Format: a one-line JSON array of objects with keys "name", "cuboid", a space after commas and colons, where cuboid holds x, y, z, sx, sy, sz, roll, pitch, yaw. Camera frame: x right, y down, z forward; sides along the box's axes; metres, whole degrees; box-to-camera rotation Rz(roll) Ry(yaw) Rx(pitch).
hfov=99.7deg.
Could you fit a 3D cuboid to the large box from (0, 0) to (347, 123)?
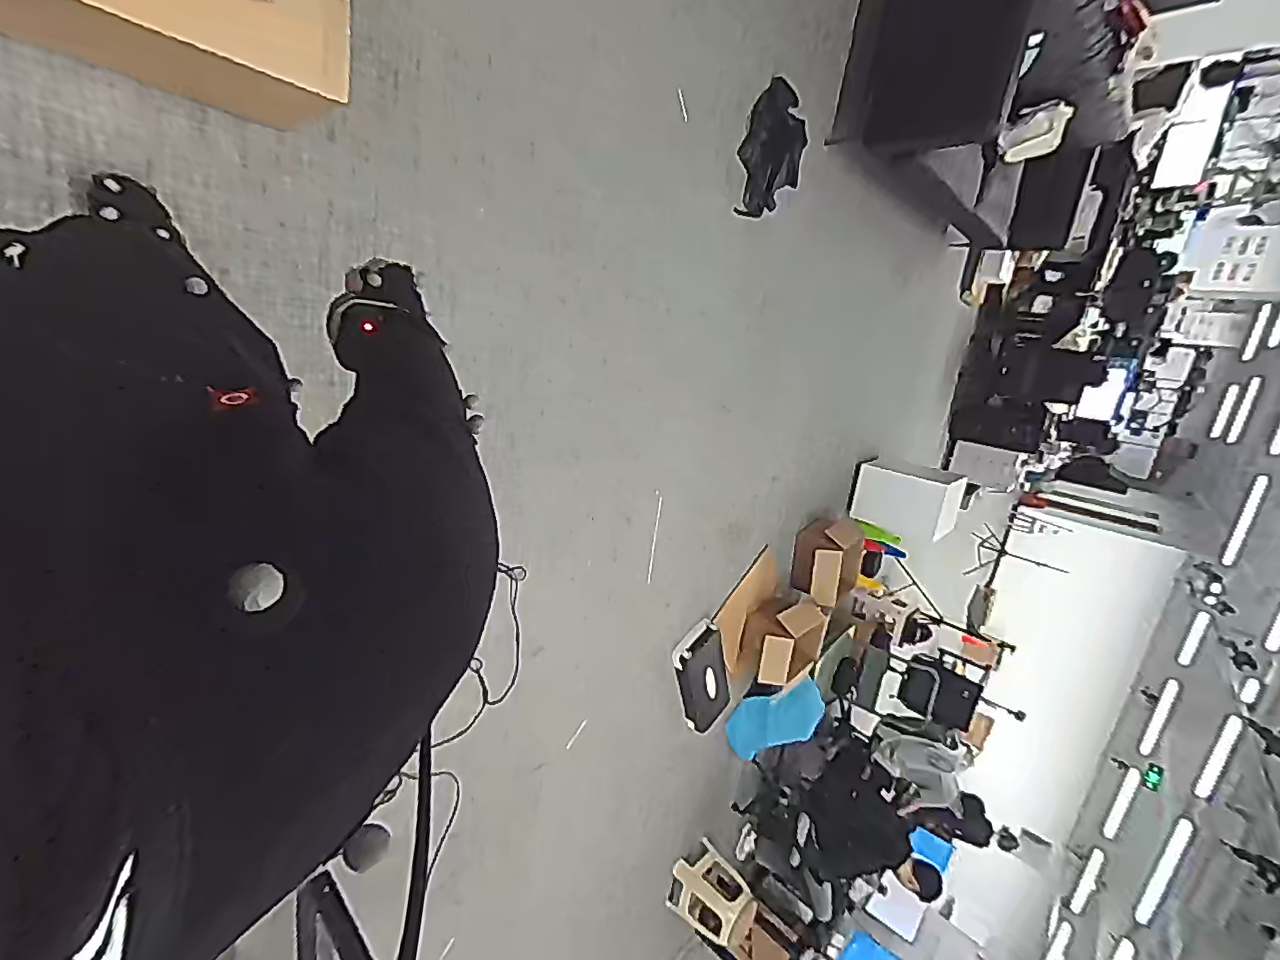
[{"name": "large box", "cuboid": [-0.703, -0.787, 0.792, 0.408, 0.320, 0.320, -8, 113, -48]}]
